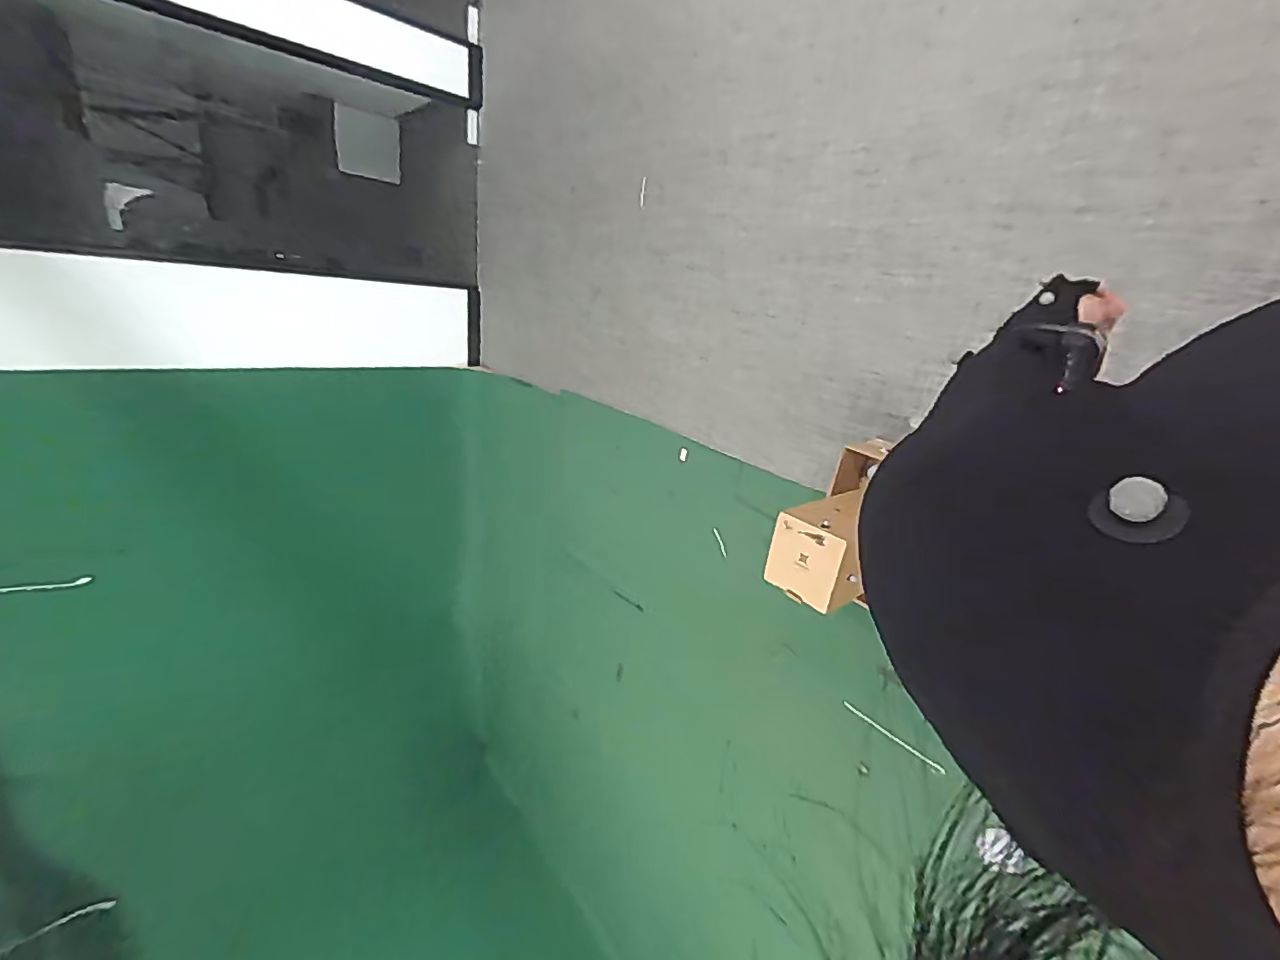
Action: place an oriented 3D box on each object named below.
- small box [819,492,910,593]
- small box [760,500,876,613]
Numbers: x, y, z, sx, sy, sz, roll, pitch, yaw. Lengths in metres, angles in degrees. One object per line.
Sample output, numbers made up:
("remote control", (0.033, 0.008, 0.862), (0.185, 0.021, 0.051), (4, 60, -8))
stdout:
("small box", (0.522, 0.144, 1.312), (0.168, 0.176, 0.179), (31, 118, 41))
("small box", (0.398, 0.161, 1.205), (0.168, 0.176, 0.179), (28, 117, 43))
